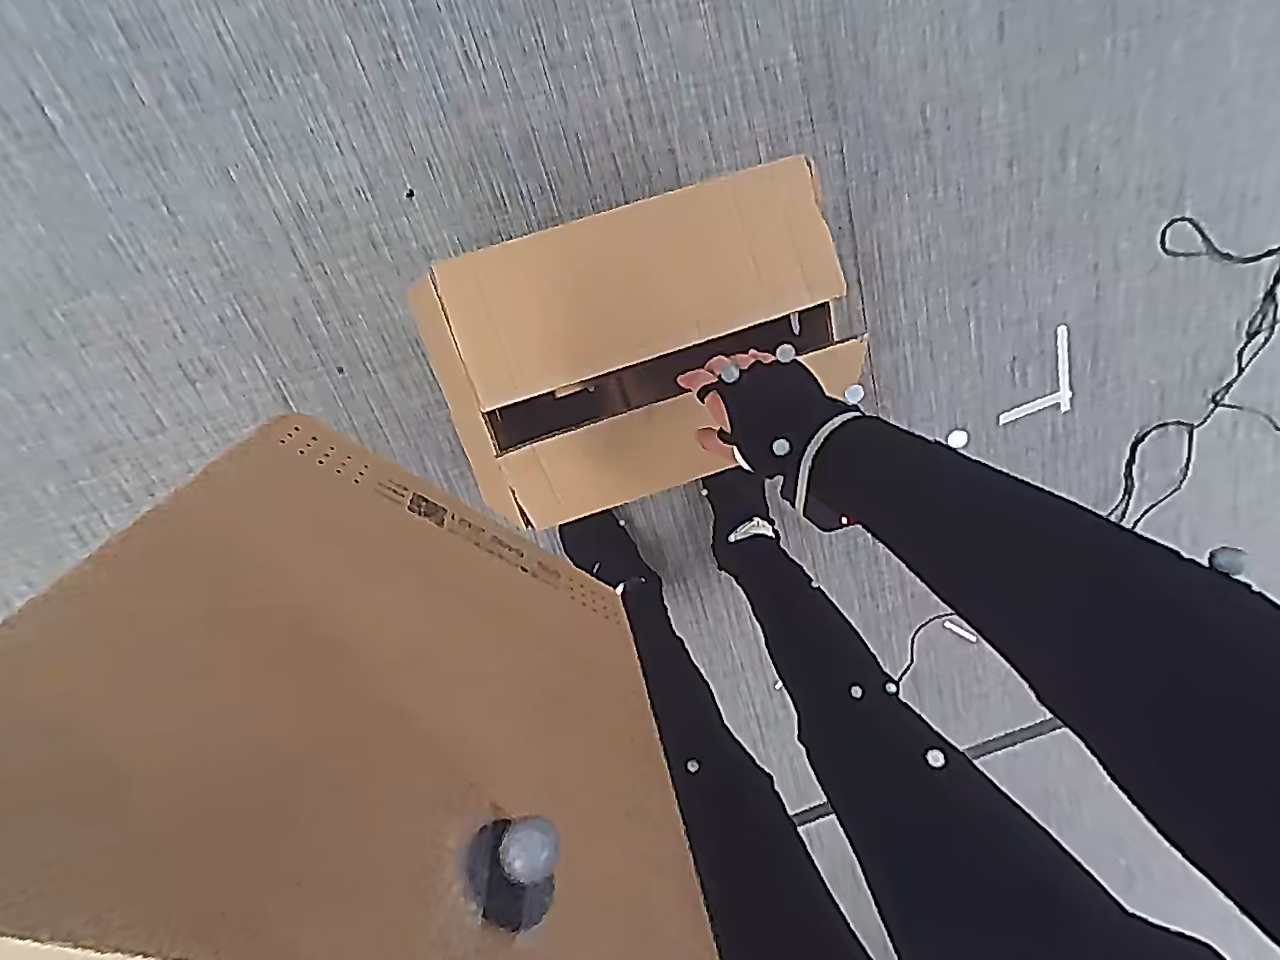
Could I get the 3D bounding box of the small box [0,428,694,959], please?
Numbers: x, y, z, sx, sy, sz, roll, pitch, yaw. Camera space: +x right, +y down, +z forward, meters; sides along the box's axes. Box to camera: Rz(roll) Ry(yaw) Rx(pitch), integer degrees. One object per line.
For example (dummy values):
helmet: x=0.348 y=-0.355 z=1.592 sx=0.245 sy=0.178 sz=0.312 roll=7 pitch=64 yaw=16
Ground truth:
small box: x=-0.108 y=0.113 z=0.186 sx=0.168 sy=0.176 sz=0.179 roll=35 pitch=103 yaw=-25
